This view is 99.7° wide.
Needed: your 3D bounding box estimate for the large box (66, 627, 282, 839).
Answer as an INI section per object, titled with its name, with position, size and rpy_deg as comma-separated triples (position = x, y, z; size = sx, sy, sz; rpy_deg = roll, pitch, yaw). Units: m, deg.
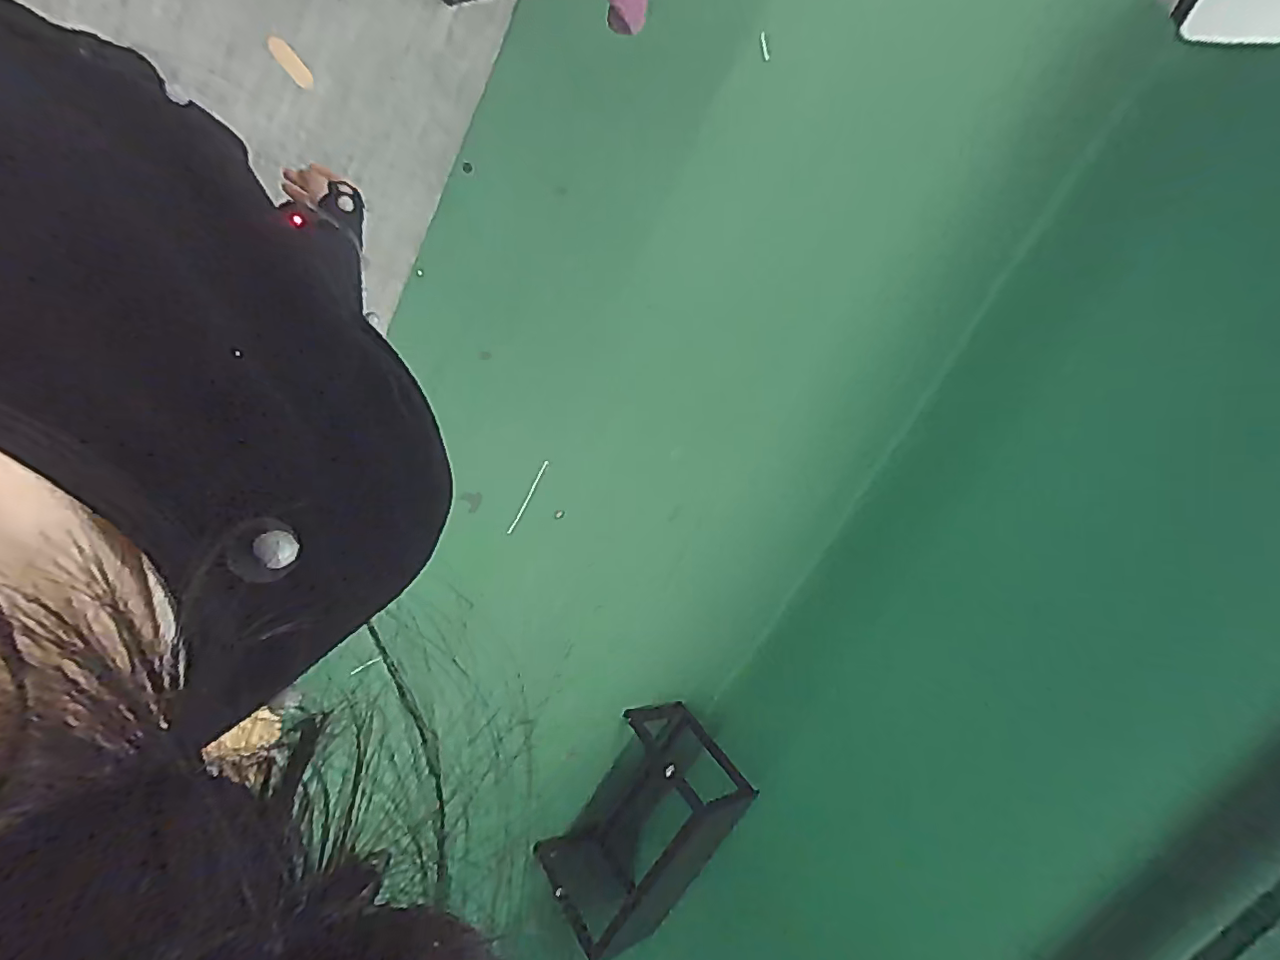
[large box]
position = -1.240, 0.652, 1.467
size = 0.408, 0.320, 0.320
rpy_deg = -4, 124, -41
